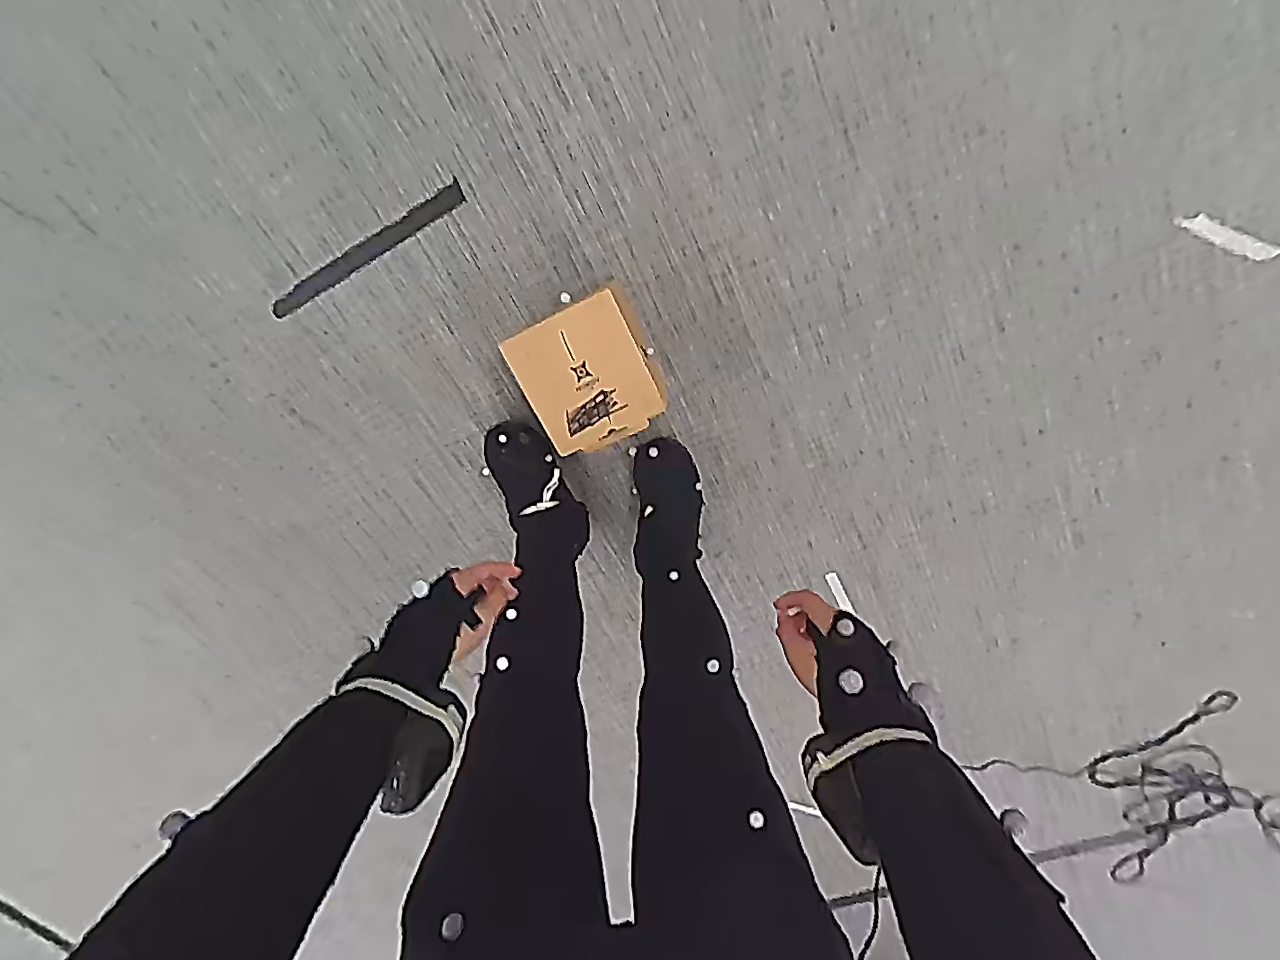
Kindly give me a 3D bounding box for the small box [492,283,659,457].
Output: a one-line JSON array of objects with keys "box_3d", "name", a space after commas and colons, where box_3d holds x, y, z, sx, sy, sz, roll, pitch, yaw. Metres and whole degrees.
[{"box_3d": [-0.080, -0.165, 0.778, 0.168, 0.176, 0.179, -24, 110, 10], "name": "small box"}]
